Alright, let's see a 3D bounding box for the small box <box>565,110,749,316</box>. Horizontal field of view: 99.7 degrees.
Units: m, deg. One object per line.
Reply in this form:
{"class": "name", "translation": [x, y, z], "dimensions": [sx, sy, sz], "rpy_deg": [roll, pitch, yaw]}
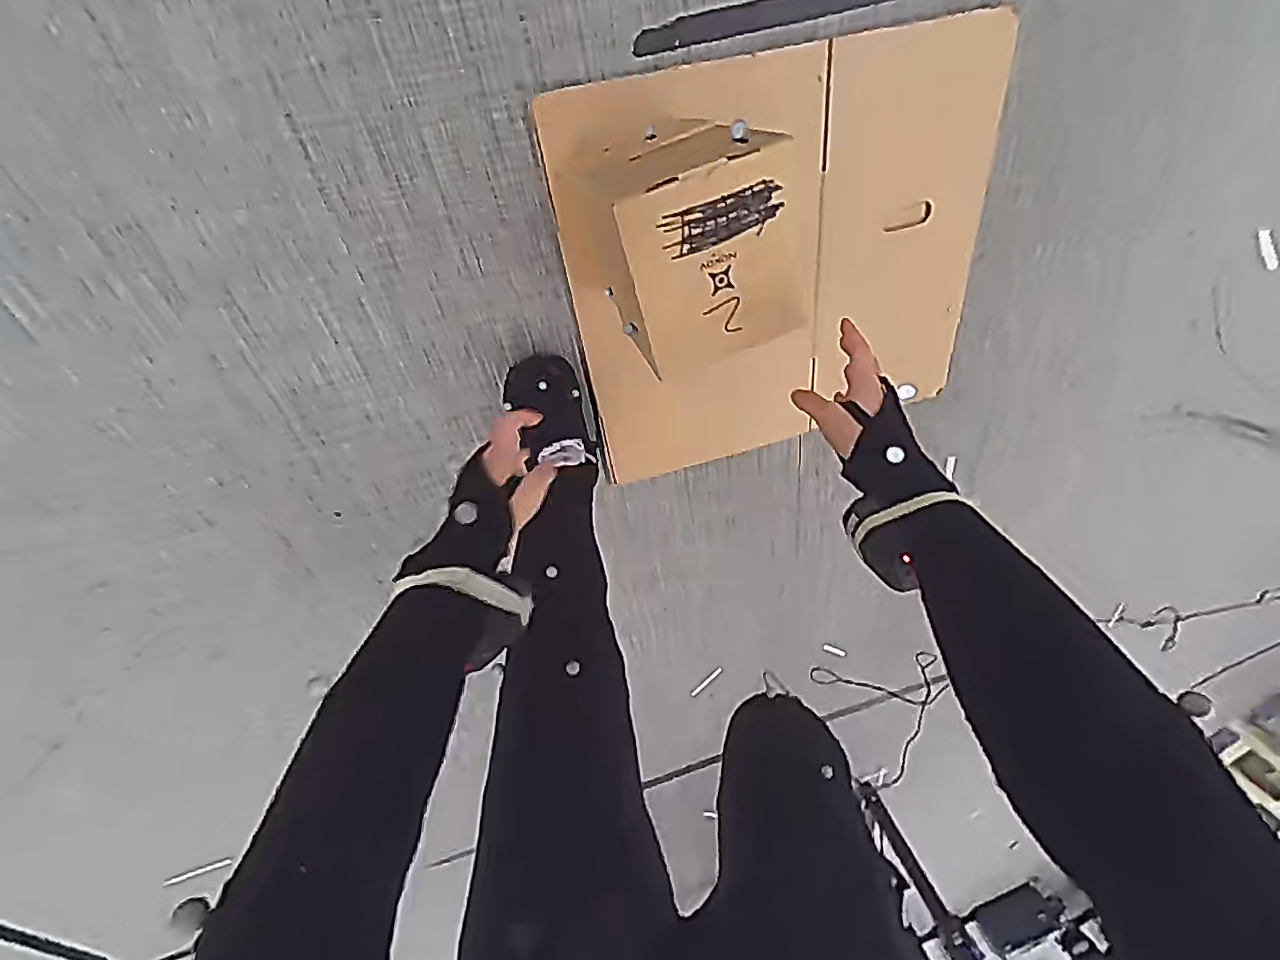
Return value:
{"class": "small box", "translation": [0.017, -0.341, 0.686], "dimensions": [0.168, 0.176, 0.179], "rpy_deg": [-23, 128, 0]}
